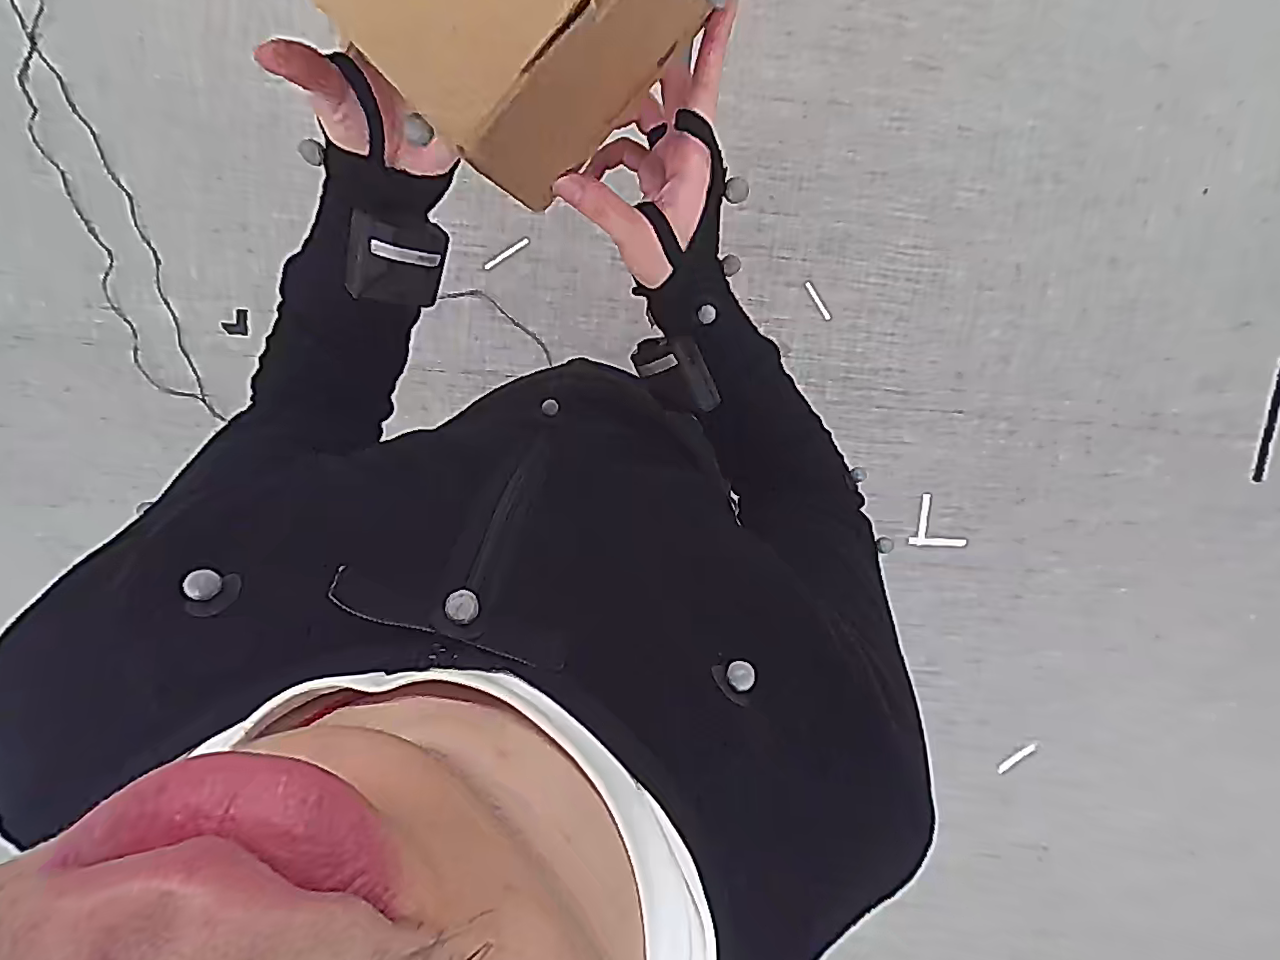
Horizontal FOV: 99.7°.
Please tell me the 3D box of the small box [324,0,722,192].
[{"bbox_3d":[-0.059,-0.248,0.220,0.179,0.176,0.168,43,103,-15],"label":"small box"}]
